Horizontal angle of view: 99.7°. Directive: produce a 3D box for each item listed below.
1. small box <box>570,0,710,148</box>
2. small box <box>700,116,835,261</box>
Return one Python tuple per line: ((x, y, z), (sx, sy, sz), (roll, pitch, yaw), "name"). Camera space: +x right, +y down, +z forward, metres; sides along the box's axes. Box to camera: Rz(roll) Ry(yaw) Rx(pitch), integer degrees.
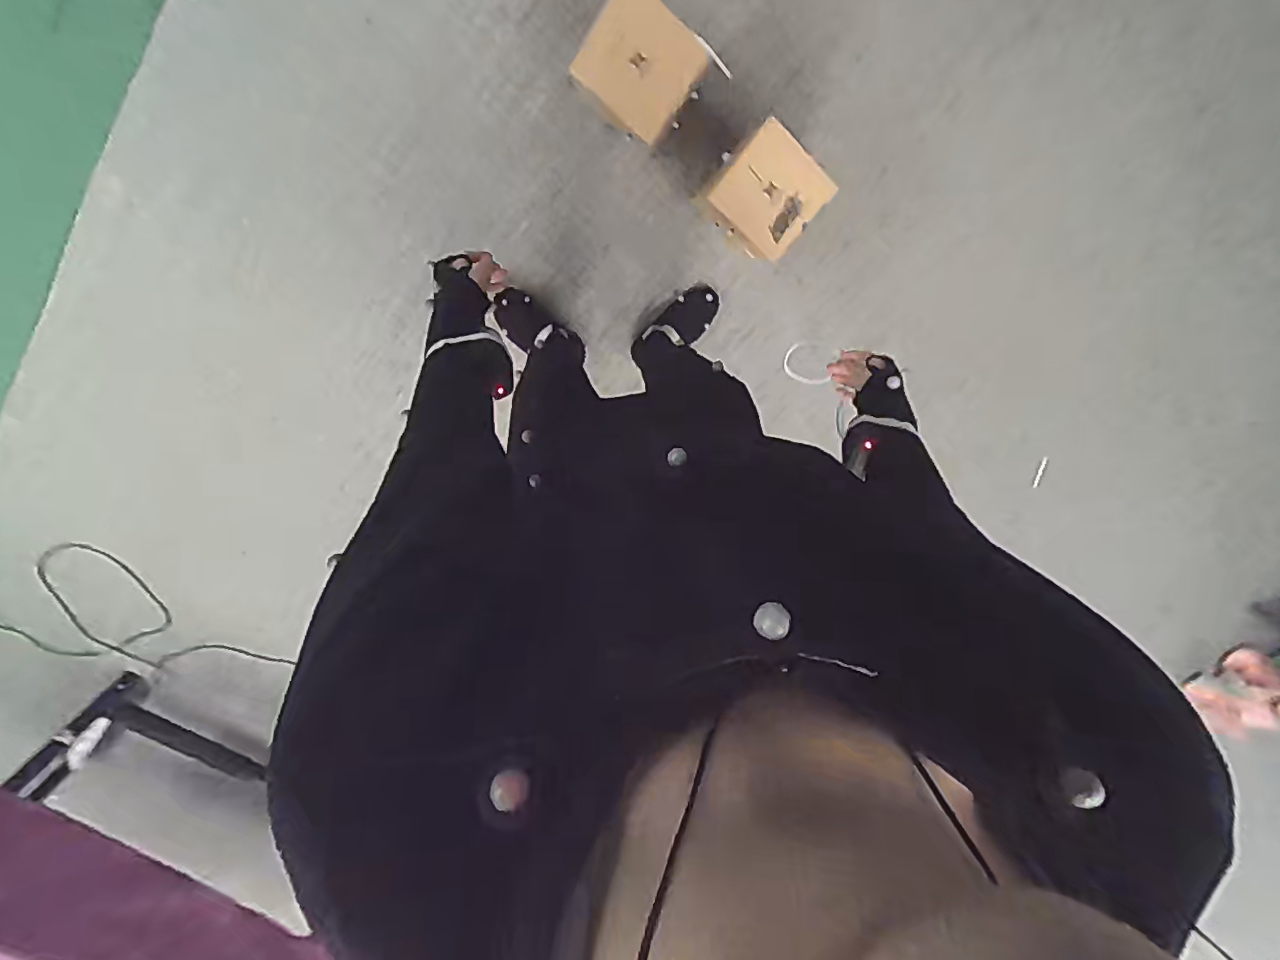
((0.000, -0.725, 0.962), (0.179, 0.176, 0.168), (36, 110, -14), "small box")
((0.236, -0.554, 1.044), (0.179, 0.176, 0.168), (38, 109, -15), "small box")
